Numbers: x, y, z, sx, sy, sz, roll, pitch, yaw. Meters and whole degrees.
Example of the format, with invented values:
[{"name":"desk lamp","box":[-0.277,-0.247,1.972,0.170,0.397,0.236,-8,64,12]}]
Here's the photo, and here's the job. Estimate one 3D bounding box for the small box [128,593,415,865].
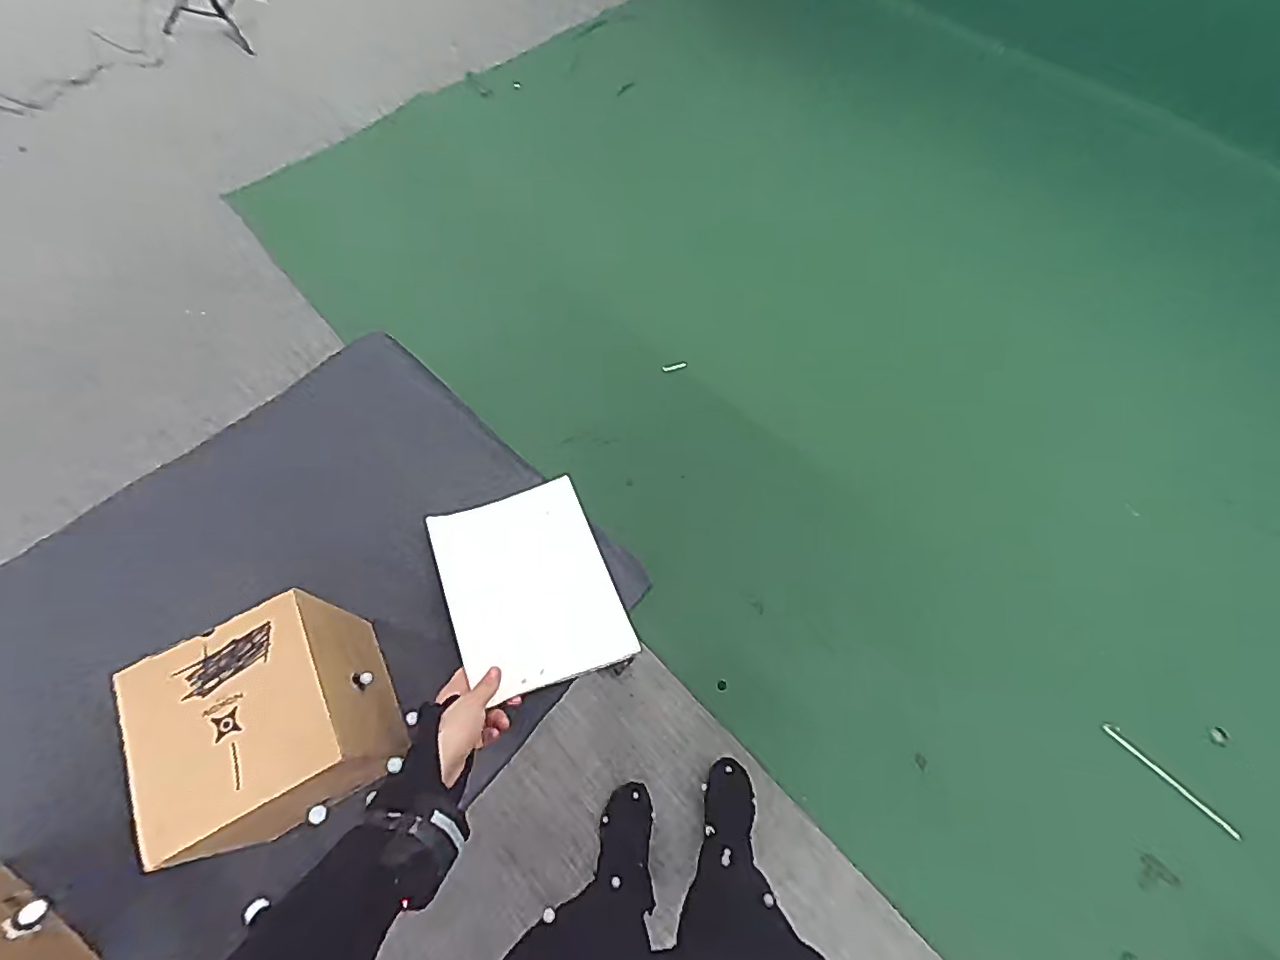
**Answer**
[{"name":"small box","box":[-0.364,0.249,0.560,0.168,0.176,0.179,-27,67,-12]}]
